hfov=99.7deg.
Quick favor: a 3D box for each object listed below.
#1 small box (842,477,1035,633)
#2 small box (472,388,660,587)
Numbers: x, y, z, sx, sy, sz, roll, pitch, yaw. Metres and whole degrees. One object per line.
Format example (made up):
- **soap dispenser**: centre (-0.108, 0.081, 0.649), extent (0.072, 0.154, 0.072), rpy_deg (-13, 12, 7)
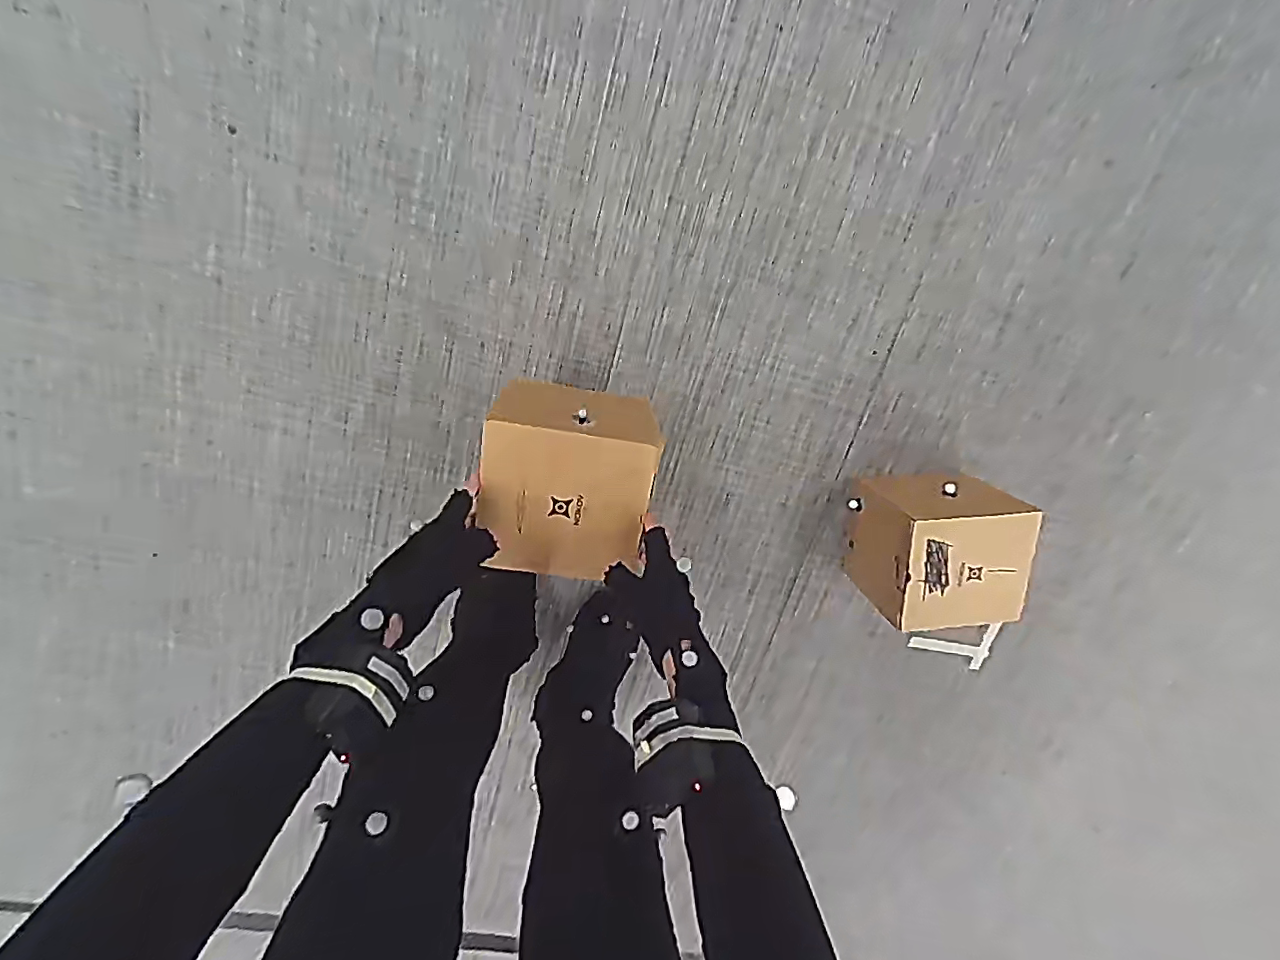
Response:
- **small box**: centre (0.414, 0.100, 0.784), extent (0.179, 0.176, 0.168), rpy_deg (-4, 109, -5)
- **small box**: centre (-0.084, 0.001, 0.624), extent (0.179, 0.176, 0.168), rpy_deg (8, 112, -7)
